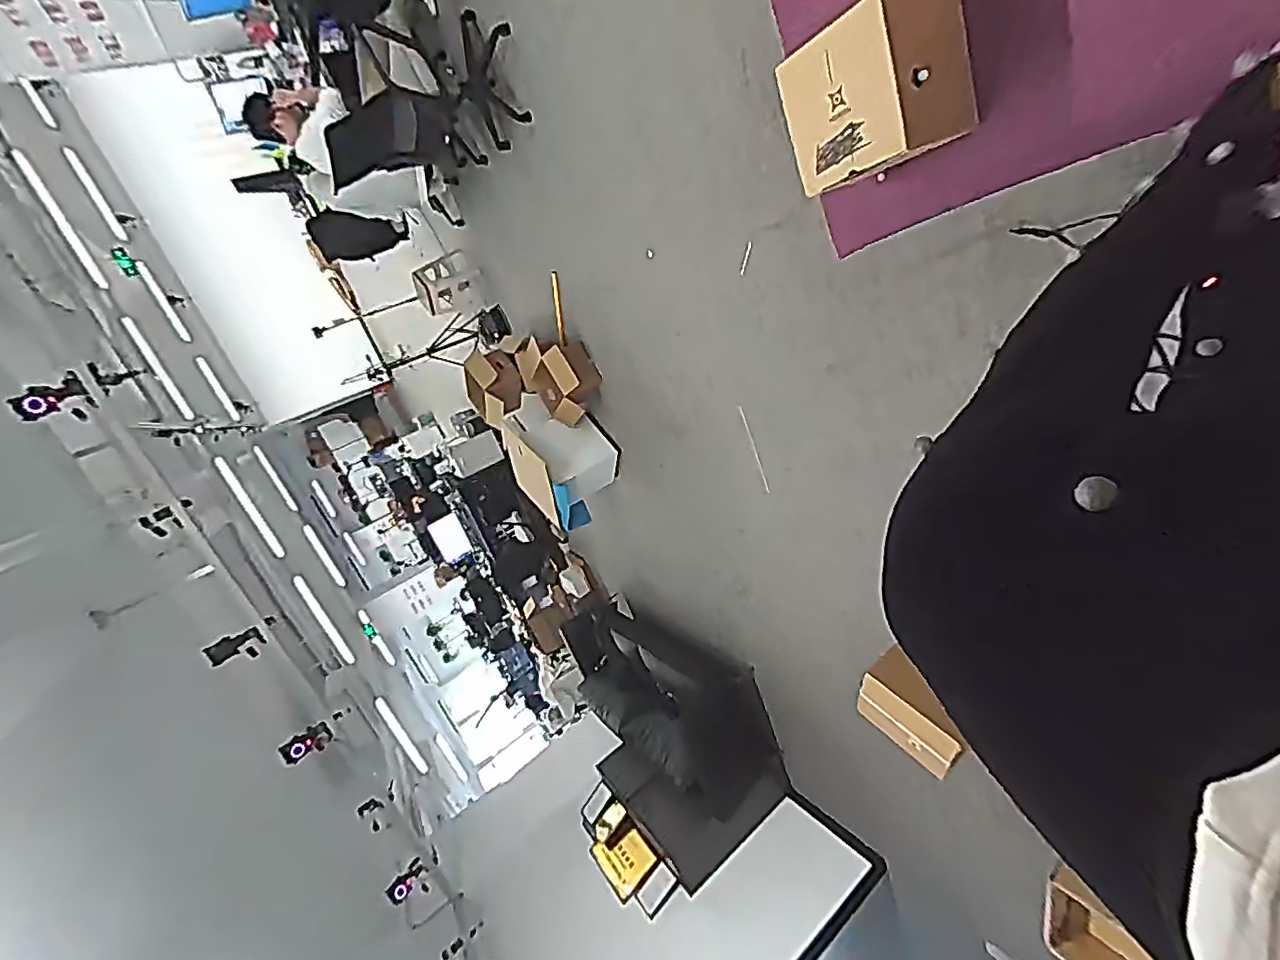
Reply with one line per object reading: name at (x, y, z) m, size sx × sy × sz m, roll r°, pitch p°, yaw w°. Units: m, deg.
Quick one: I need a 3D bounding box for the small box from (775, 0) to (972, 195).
small box at (0.320, -0.523, 0.734) m, size 0.168 × 0.176 × 0.179 m, roll 9°, pitch 125°, yaw 58°

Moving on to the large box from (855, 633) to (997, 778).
large box at (1.187, 0.934, 2.278) m, size 0.408 × 0.320 × 0.320 m, roll 35°, pitch 146°, yaw 41°
